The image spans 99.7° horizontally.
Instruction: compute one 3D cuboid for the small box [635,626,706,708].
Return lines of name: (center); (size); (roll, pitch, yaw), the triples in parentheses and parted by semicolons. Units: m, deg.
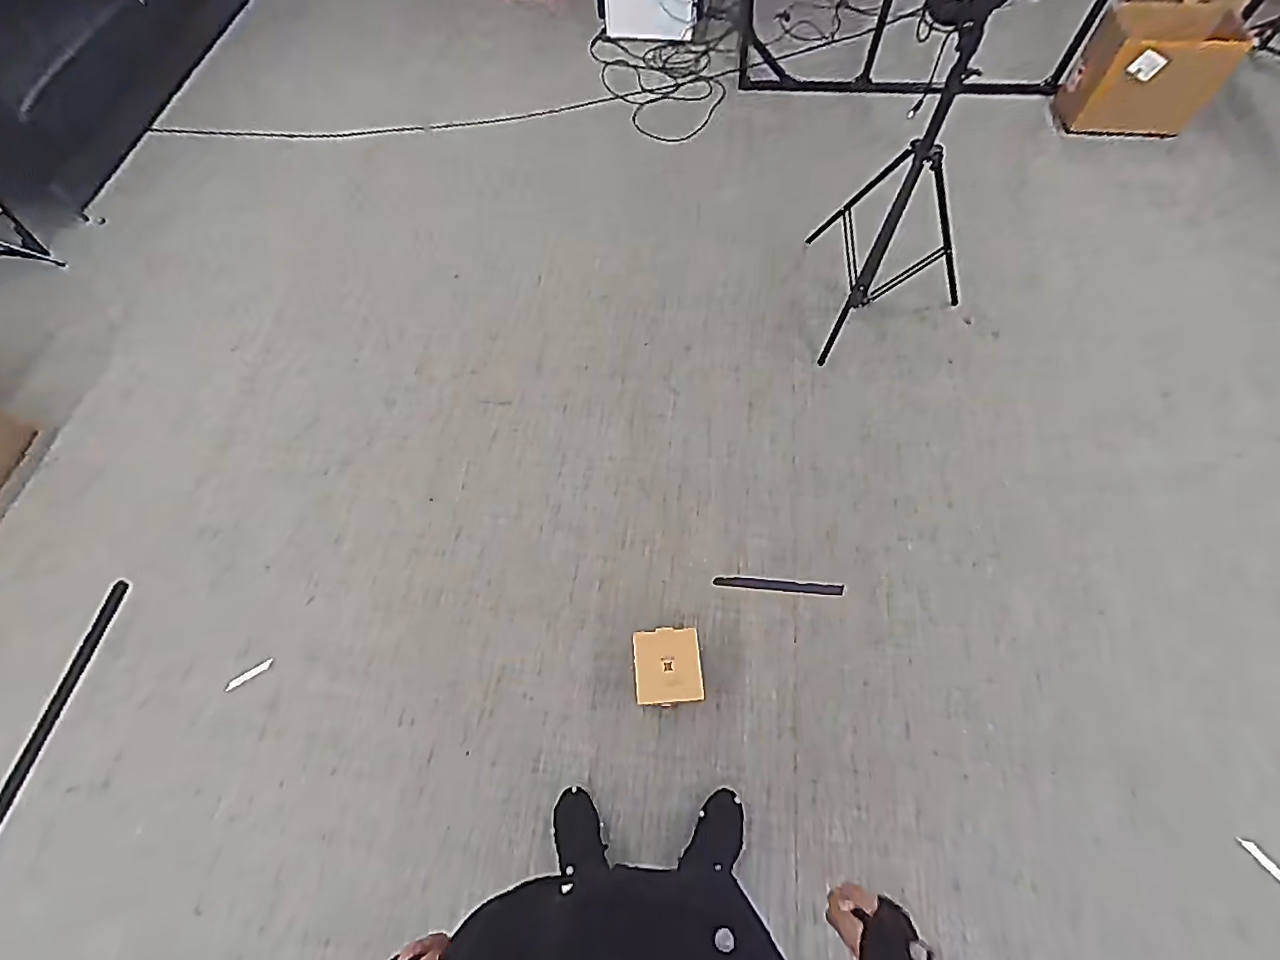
small box: (0.076, 0.490, 1.405); (0.168, 0.176, 0.179); (-5, 64, 1)
